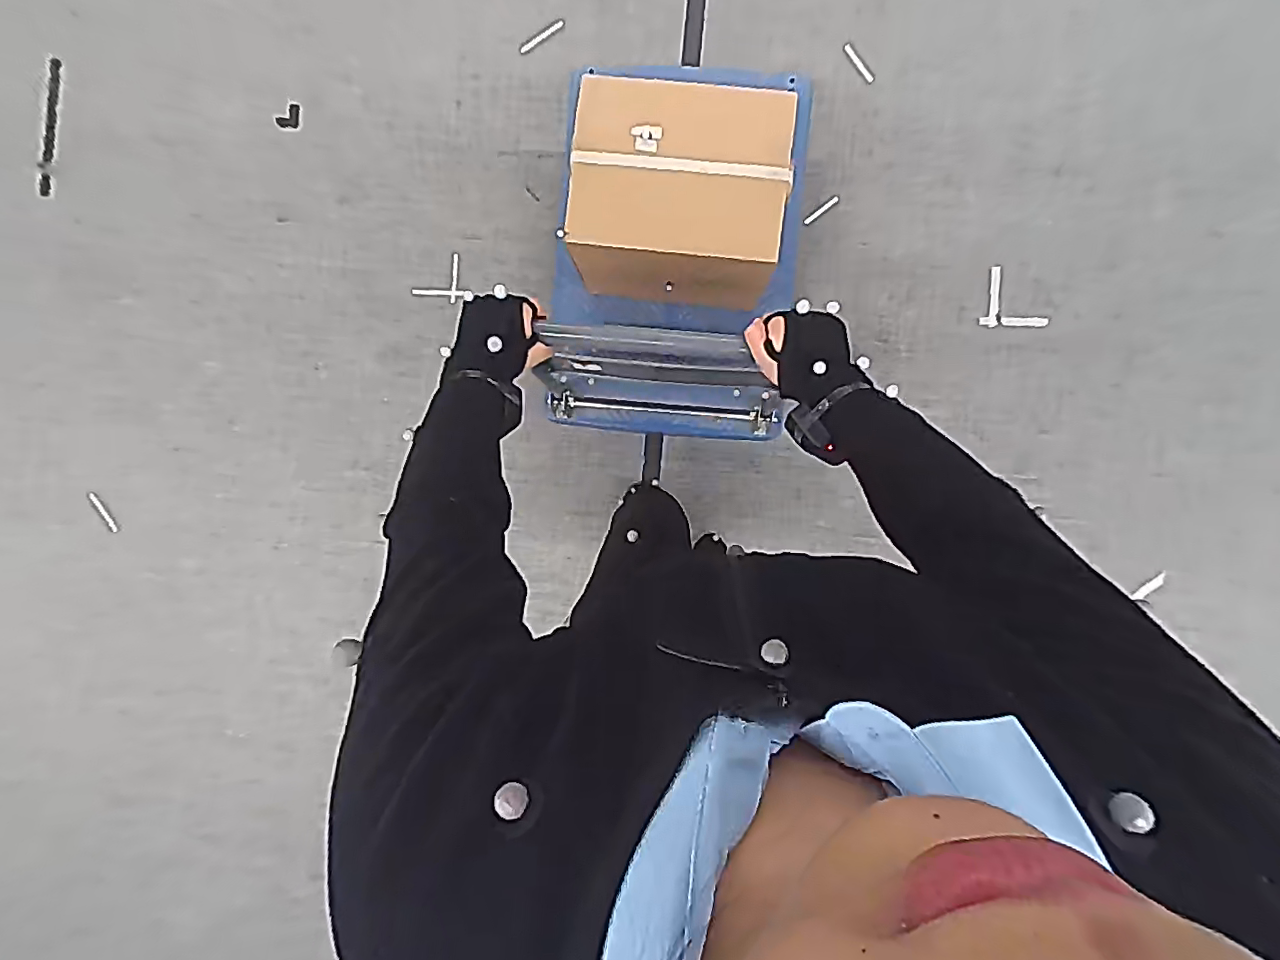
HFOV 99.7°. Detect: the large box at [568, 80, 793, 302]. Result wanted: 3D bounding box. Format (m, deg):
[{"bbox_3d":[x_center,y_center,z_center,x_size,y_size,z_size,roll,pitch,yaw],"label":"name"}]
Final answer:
[{"bbox_3d":[0.085,-0.590,1.161,0.408,0.320,0.320,7,91,4],"label":"large box"}]
